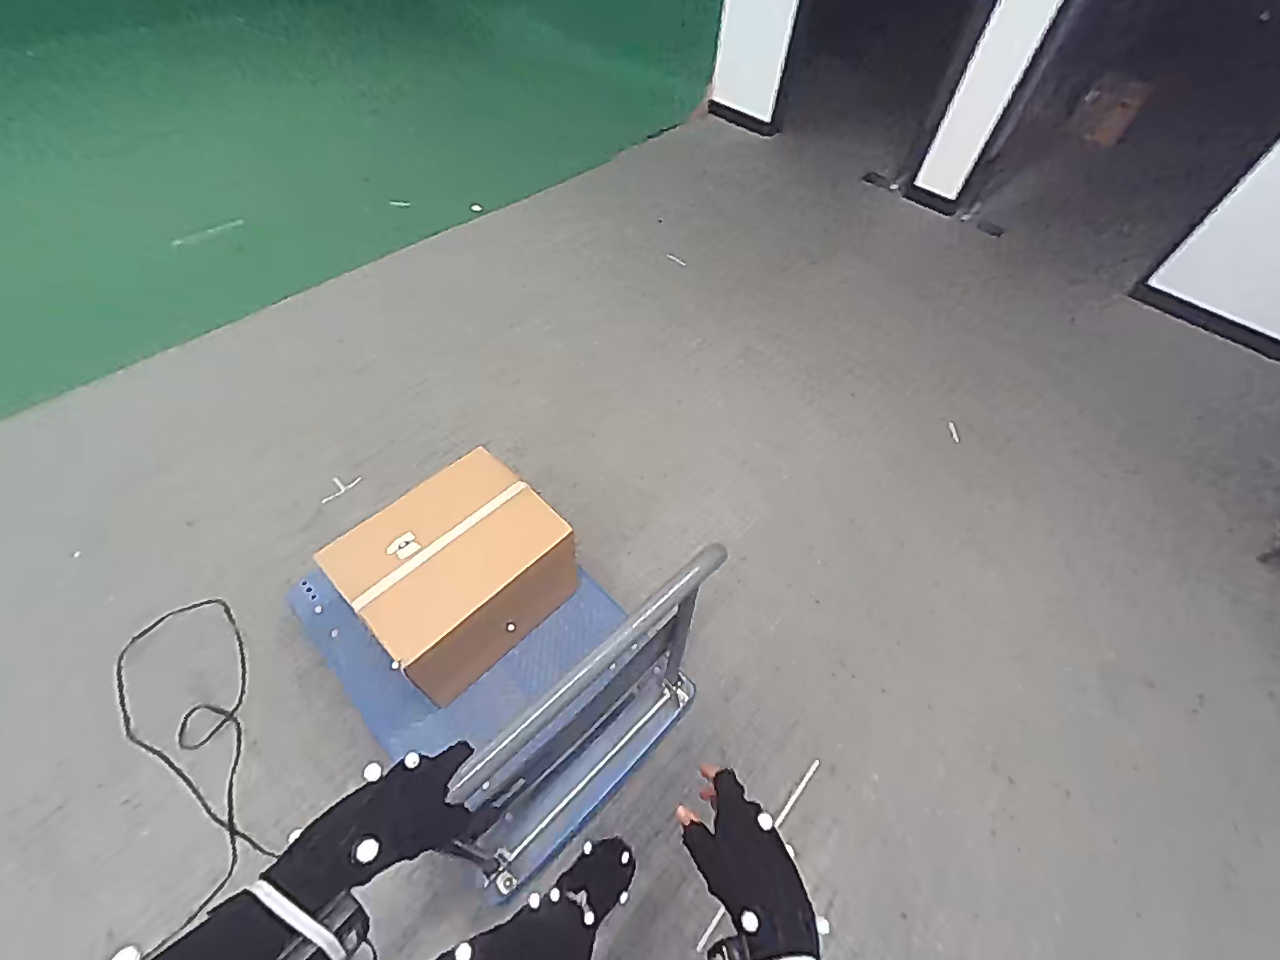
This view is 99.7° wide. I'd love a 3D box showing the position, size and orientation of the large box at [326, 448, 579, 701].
[{"bbox_3d":[-0.383,0.210,1.214,0.320,0.320,0.408,39,61,21],"label":"large box"}]
